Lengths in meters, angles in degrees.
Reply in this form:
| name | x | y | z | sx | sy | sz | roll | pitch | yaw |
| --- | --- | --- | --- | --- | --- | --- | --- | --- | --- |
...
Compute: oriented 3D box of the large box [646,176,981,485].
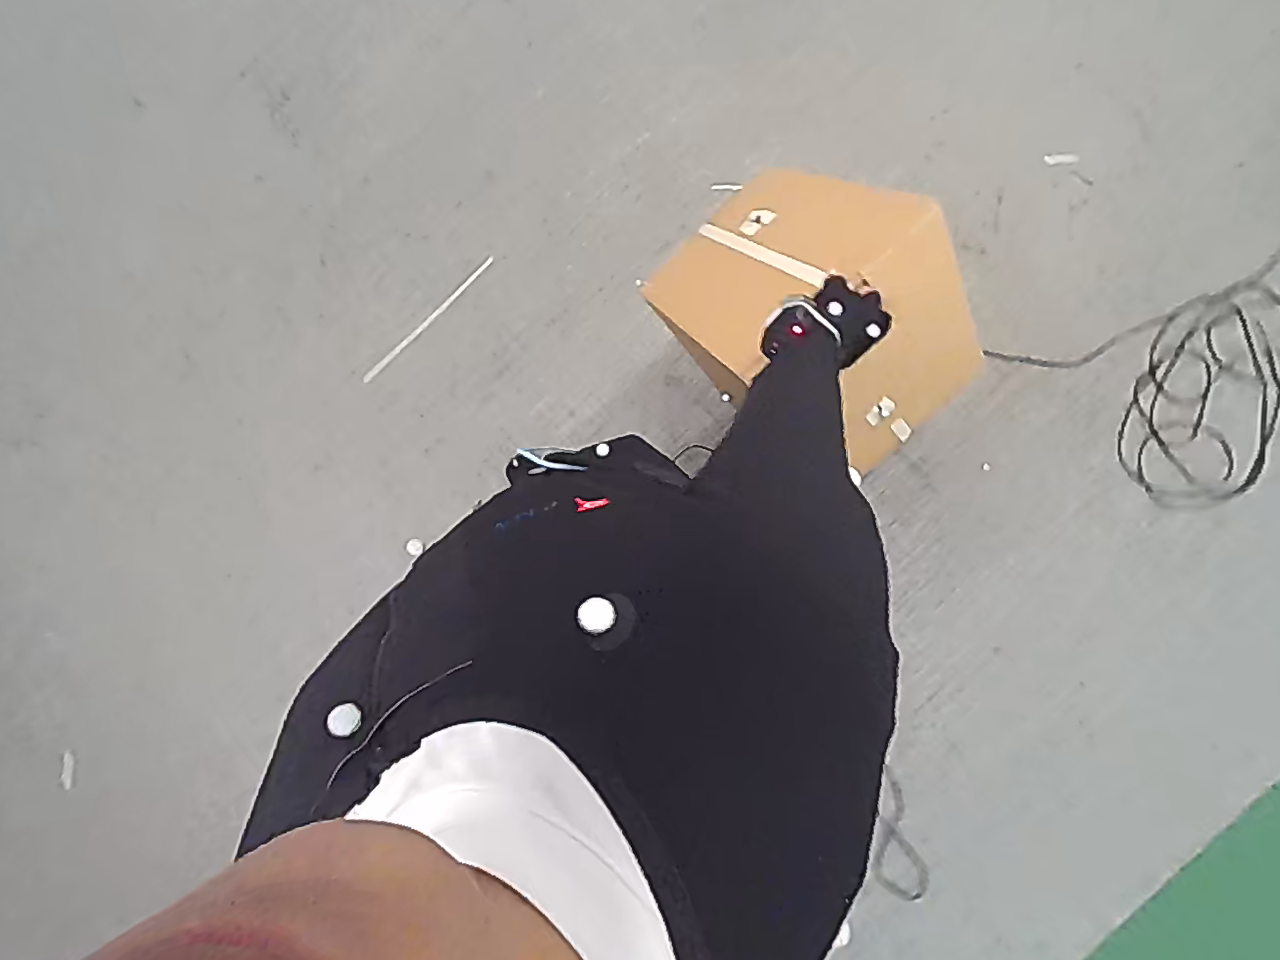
| name | x | y | z | sx | sy | sz | roll | pitch | yaw |
| --- | --- | --- | --- | --- | --- | --- | --- | --- | --- |
| large box | 0.274 | -0.264 | 0.926 | 0.320 | 0.408 | 0.320 | -40 | 128 | 8 |
